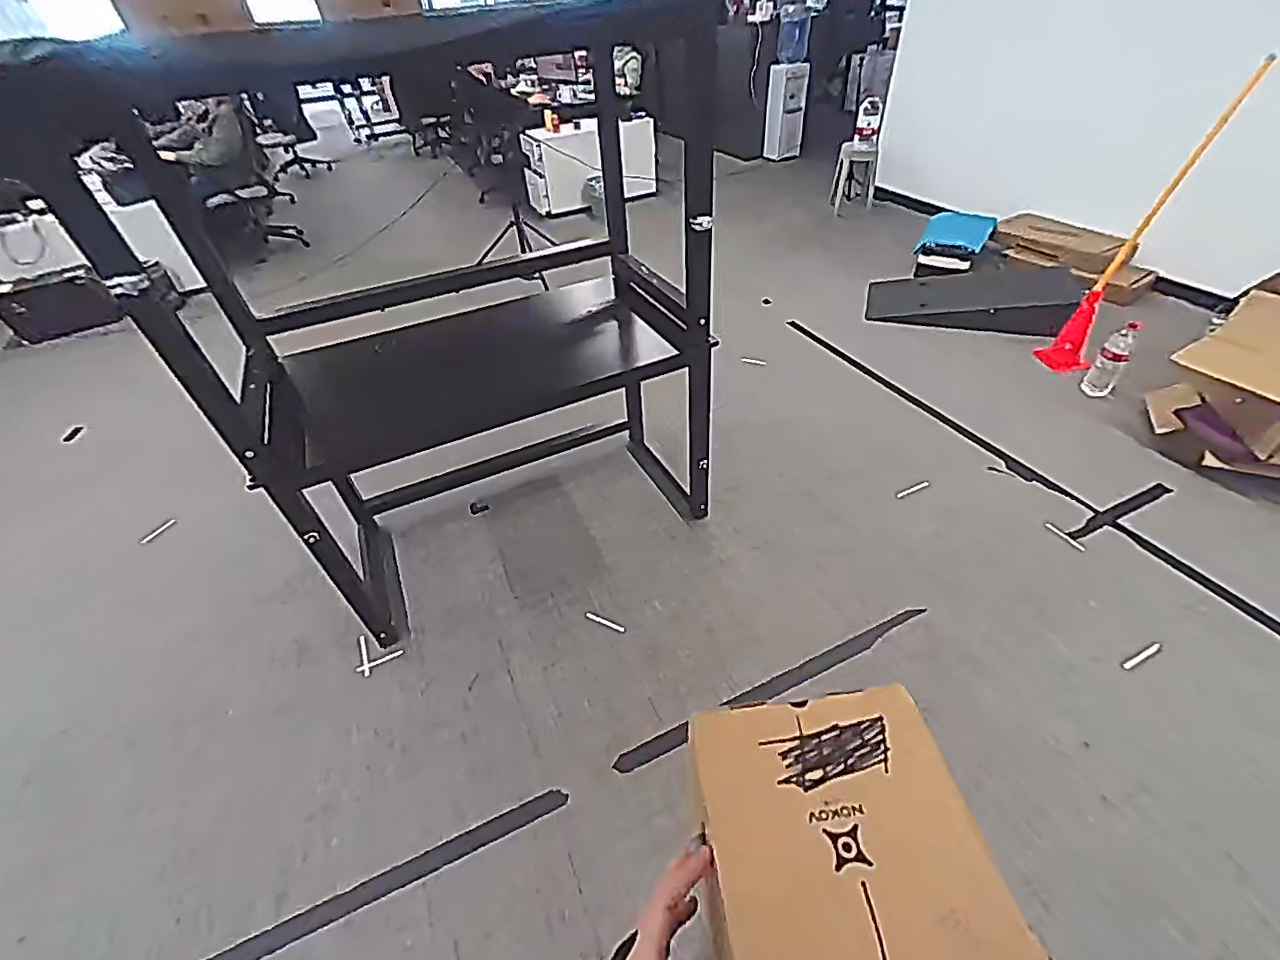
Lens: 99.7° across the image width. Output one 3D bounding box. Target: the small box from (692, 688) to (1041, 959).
[{"bbox_3d":[0.133,0.281,0.395,0.168,0.176,0.179,-6,43,-3],"label":"small box"}]
